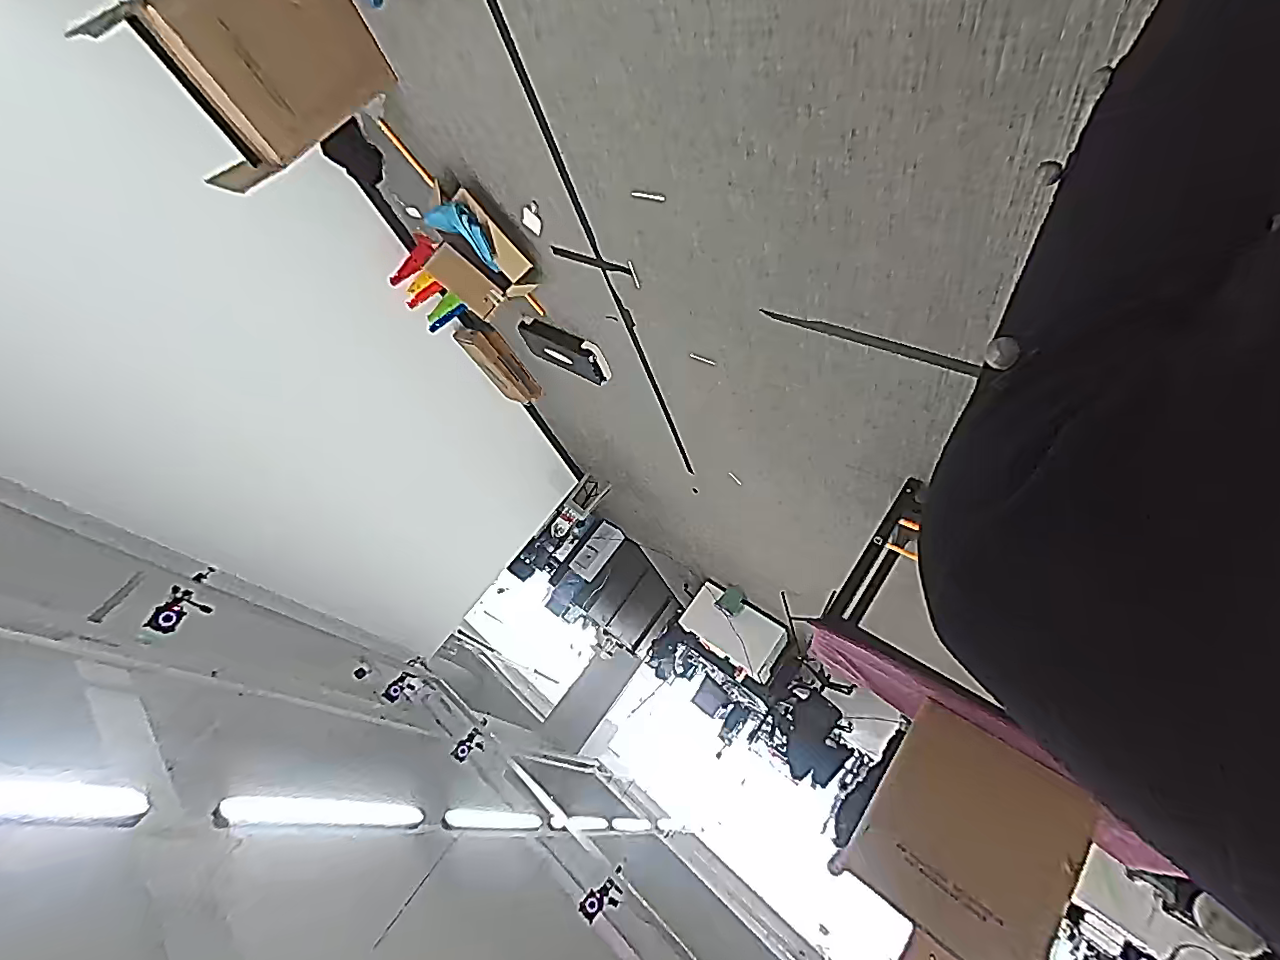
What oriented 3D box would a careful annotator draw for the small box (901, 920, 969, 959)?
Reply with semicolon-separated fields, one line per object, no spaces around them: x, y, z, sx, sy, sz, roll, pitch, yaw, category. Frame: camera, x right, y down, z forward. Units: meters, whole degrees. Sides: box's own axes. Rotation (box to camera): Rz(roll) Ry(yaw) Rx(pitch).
0.942;1.554;1.718;0.179;0.176;0.168;28;161;37;small box
